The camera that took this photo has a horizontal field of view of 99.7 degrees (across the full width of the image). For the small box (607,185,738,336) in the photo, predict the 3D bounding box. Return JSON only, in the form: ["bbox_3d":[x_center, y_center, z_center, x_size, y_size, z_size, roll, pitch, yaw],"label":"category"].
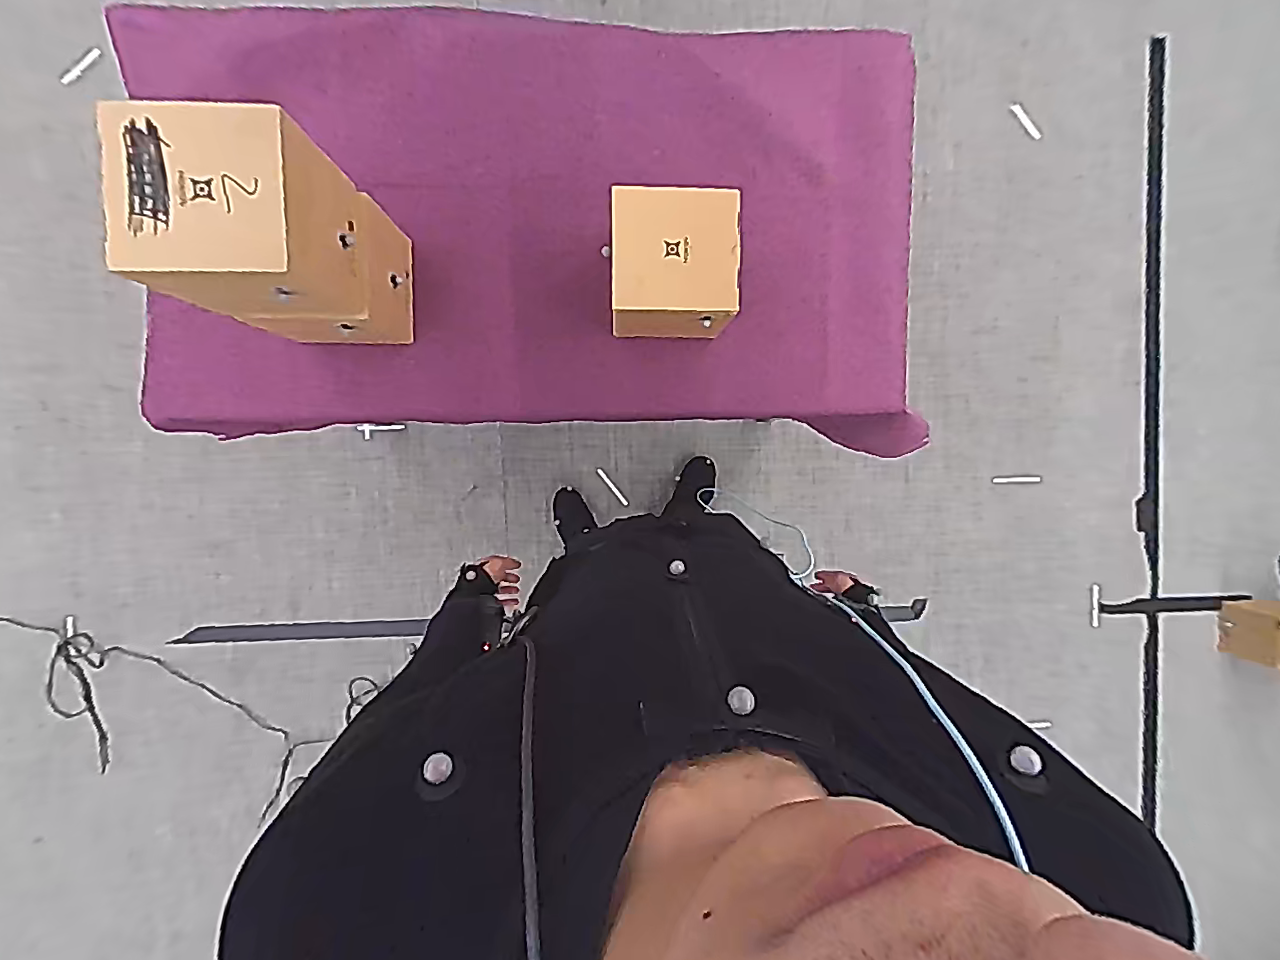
[{"bbox_3d":[0.040,-0.314,0.804,0.179,0.176,0.168,0,93,-4],"label":"small box"}]

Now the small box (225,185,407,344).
[{"bbox_3d":[-0.447,-0.295,0.775,0.179,0.176,0.168,0,93,-4],"label":"small box"}]
